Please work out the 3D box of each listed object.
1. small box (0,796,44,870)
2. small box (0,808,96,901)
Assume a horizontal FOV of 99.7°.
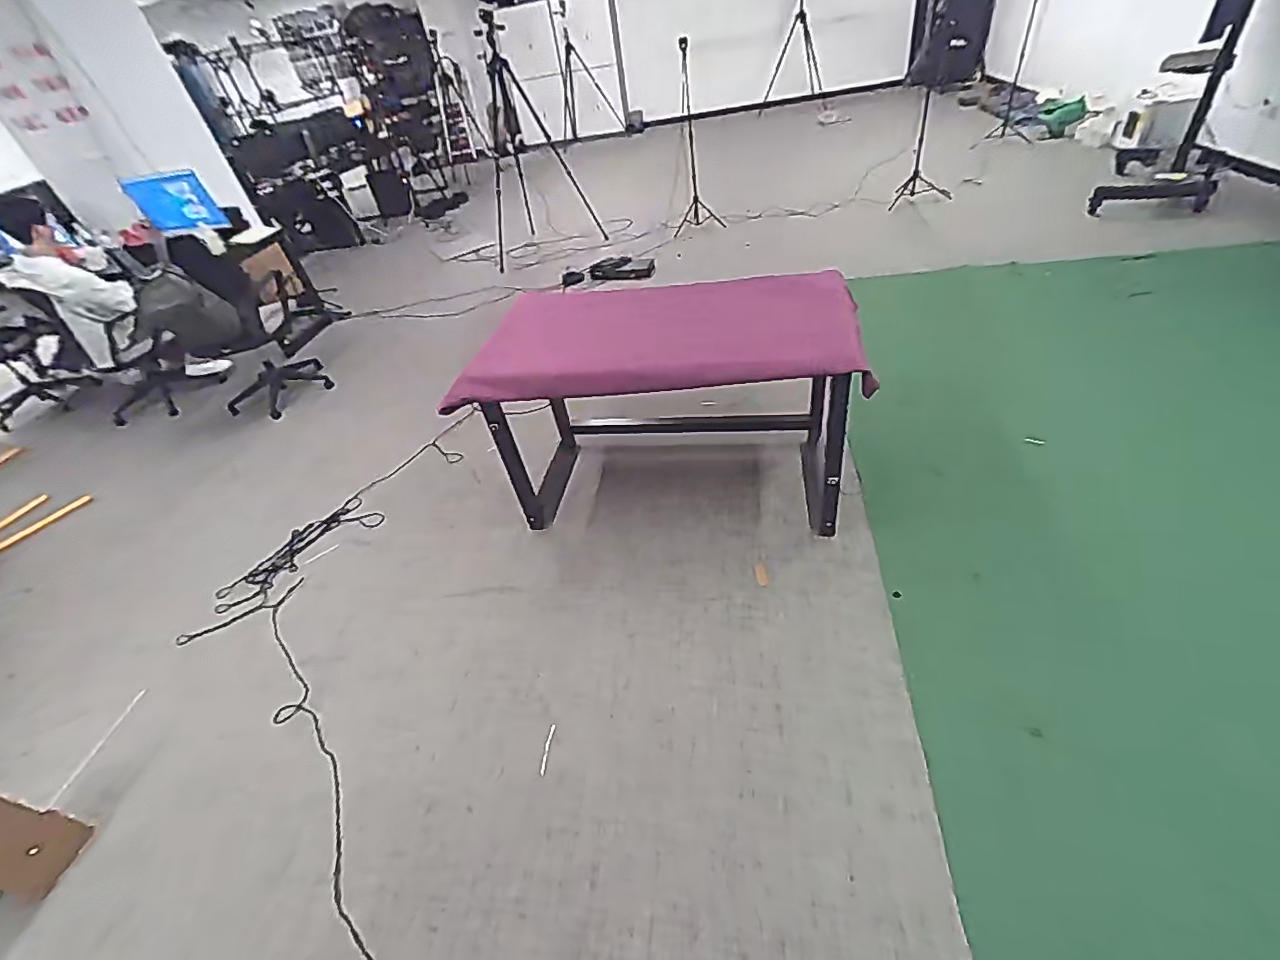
[{"bbox_3d":[-1.686,0.895,1.347,0.168,0.176,0.179,-1,41,11],"label":"small box"},{"bbox_3d":[-1.658,1.010,1.461,0.168,0.176,0.179,-2,41,11],"label":"small box"}]
